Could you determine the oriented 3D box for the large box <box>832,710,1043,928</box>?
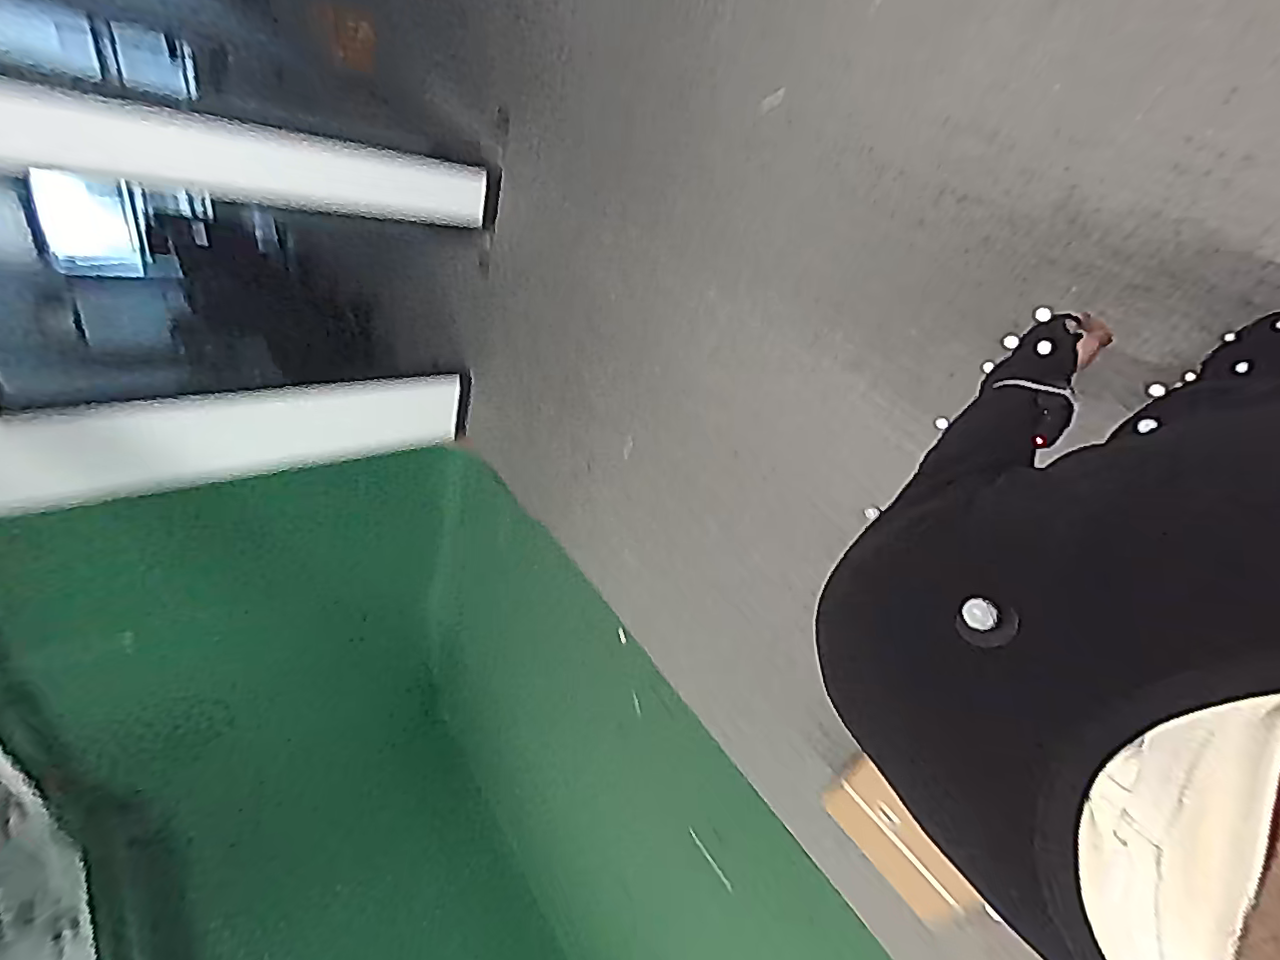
[{"bbox_3d":[0.886,1.002,1.634,0.408,0.320,0.320,45,130,31],"label":"large box"}]
